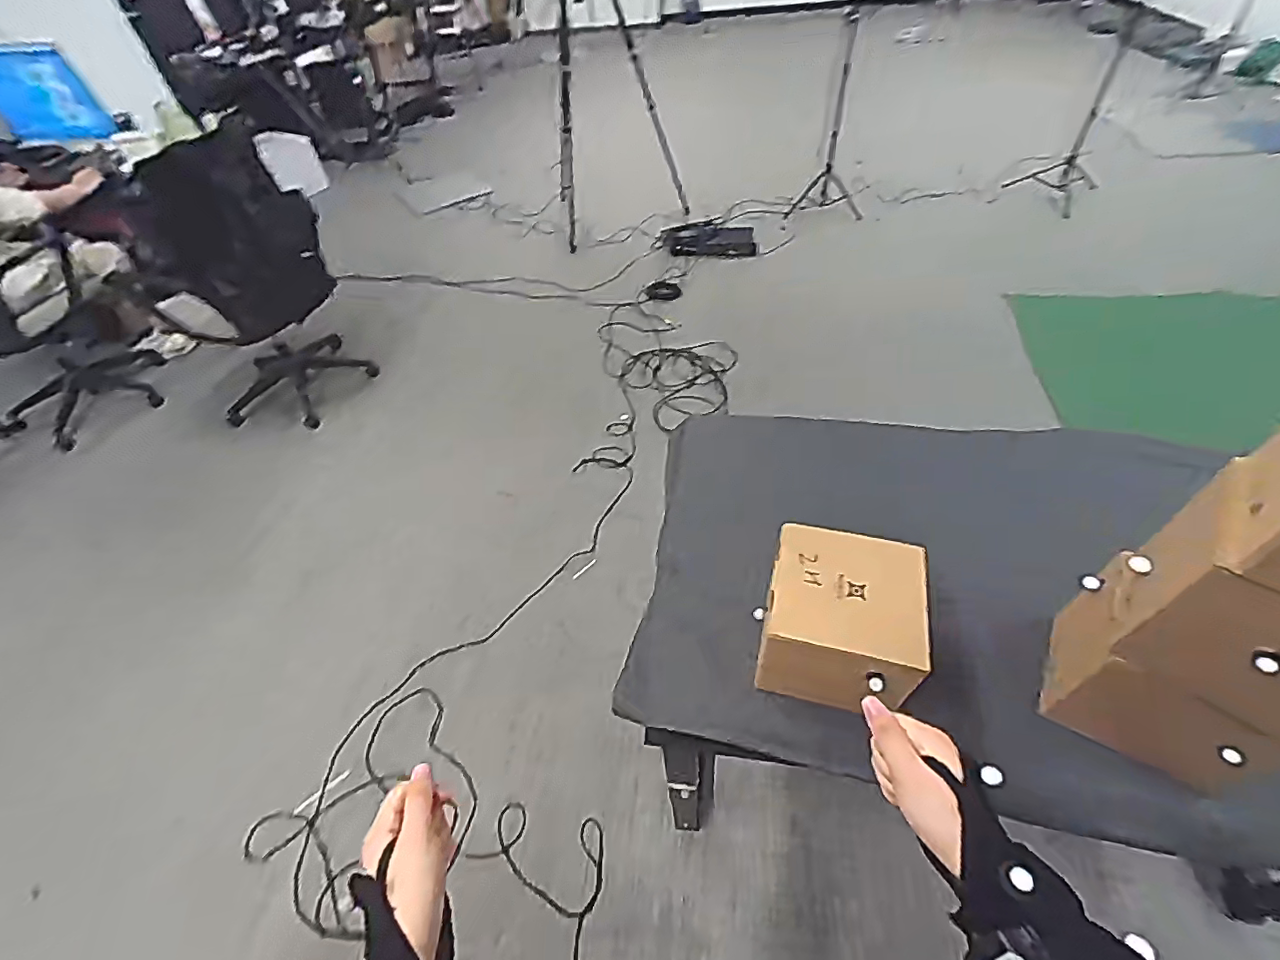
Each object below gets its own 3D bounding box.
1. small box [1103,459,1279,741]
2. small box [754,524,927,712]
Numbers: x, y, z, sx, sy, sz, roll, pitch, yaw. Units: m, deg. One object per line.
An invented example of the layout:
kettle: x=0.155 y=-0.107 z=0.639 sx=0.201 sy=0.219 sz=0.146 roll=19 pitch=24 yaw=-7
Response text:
small box: x=0.601 y=0.119 z=0.511 sx=0.179 sy=0.176 sz=0.168 roll=31 pitch=58 yaw=30
small box: x=0.255 y=0.184 z=0.709 sx=0.179 sy=0.176 sz=0.168 roll=10 pitch=51 yaw=14
